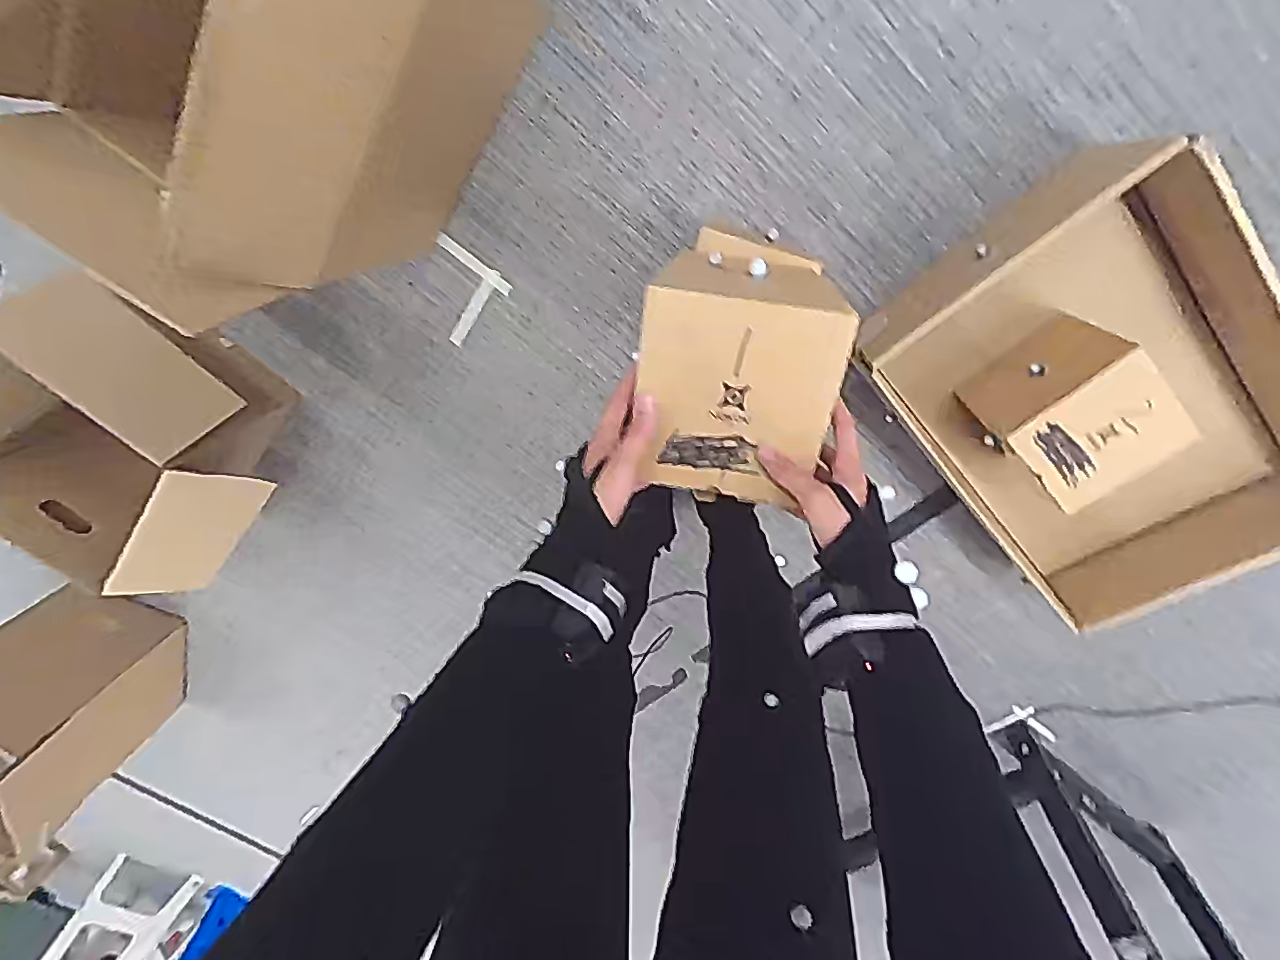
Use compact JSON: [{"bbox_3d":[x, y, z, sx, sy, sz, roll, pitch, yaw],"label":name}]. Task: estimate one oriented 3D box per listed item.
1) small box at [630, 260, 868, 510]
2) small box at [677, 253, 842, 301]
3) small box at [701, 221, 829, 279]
[{"bbox_3d":[0.093,-0.099,0.515,0.168,0.176,0.179,10,118,4],"label":"small box"},{"bbox_3d":[0.122,-0.174,0.661,0.179,0.176,0.168,10,120,3],"label":"small box"},{"bbox_3d":[0.154,-0.263,0.796,0.168,0.176,0.179,18,120,-1],"label":"small box"}]
